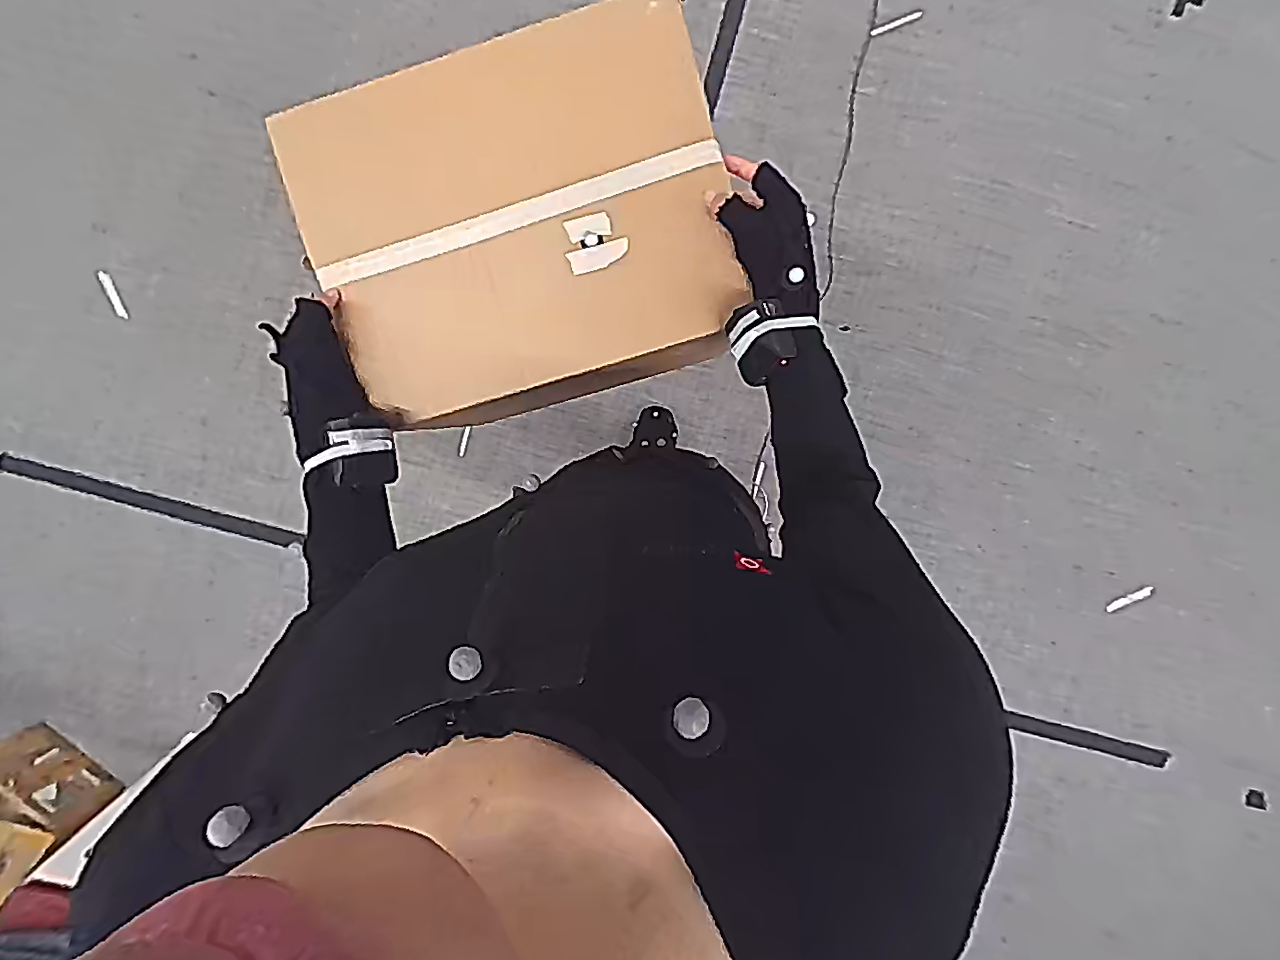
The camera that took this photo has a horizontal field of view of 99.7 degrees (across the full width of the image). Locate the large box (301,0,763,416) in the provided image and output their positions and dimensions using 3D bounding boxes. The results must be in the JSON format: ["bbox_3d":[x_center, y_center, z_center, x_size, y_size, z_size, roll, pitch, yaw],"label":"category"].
[{"bbox_3d":[-0.104,-0.282,0.683,0.408,0.320,0.320,-15,97,3],"label":"large box"}]
